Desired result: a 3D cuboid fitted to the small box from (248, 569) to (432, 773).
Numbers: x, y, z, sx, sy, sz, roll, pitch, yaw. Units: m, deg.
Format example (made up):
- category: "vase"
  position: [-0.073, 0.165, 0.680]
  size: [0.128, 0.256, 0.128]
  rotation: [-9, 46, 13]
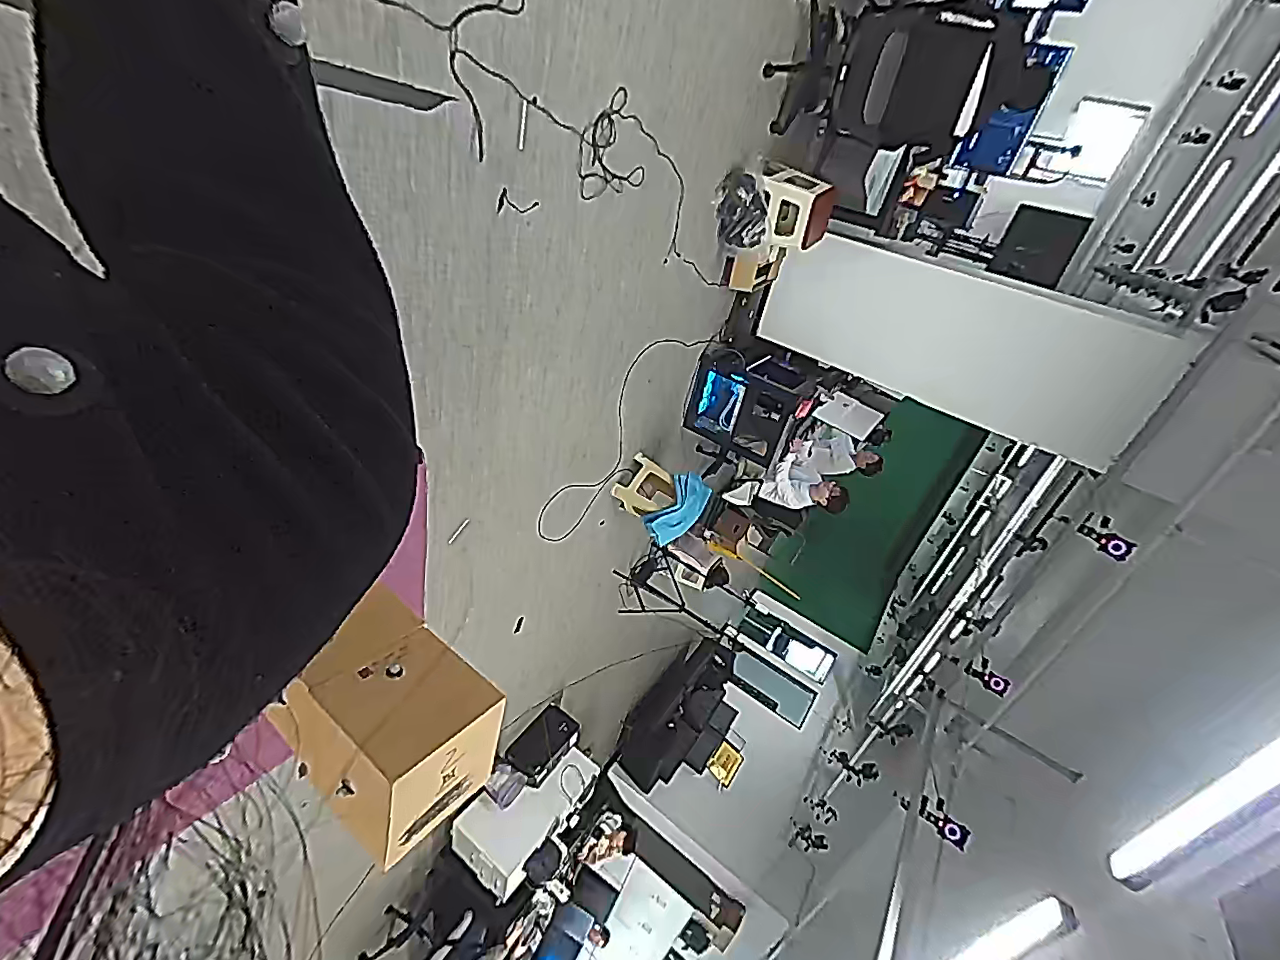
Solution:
- category: "small box"
  position: [-0.427, 0.262, 0.775]
  size: [0.168, 0.176, 0.179]
  rotation: [-27, 139, -52]
